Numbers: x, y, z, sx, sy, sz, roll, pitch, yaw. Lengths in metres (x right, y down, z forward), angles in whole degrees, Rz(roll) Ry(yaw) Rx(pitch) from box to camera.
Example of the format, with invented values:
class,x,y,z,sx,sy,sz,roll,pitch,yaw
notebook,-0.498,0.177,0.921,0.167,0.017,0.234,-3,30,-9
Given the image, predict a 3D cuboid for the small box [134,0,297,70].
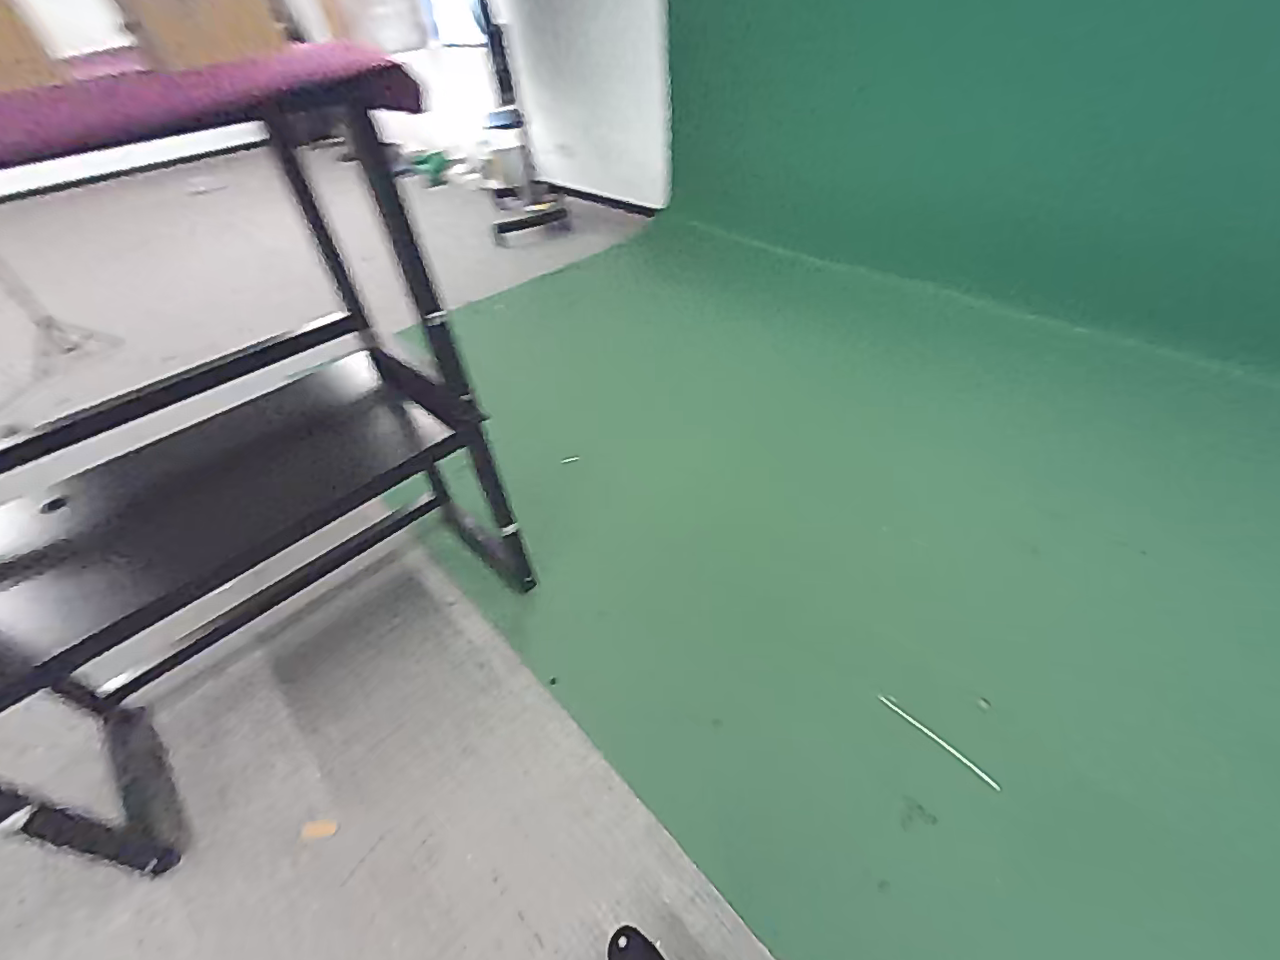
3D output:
class,x,y,z,sx,sy,sz,roll,pitch,yaw
small box,-0.641,-0.725,0.794,0.179,0.176,0.168,-36,51,-26
